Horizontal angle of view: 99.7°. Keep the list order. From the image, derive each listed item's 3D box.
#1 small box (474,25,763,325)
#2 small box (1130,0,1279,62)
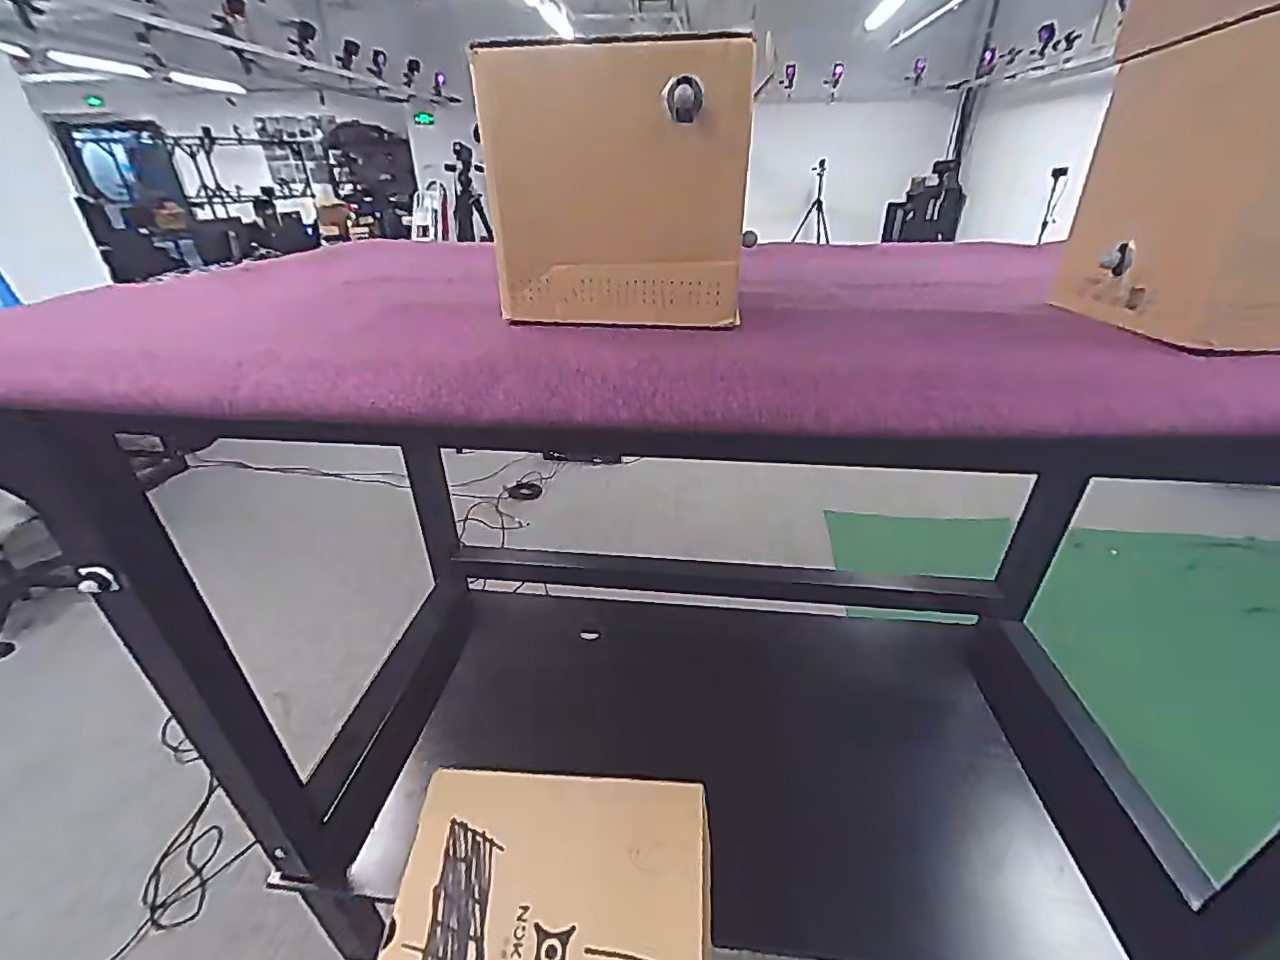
[{"bbox_3d":[-0.004,-0.221,0.419,0.179,0.176,0.168,4,29,7],"label":"small box"},{"bbox_3d":[0.405,-0.328,0.261,0.168,0.176,0.179,2,28,8],"label":"small box"}]
